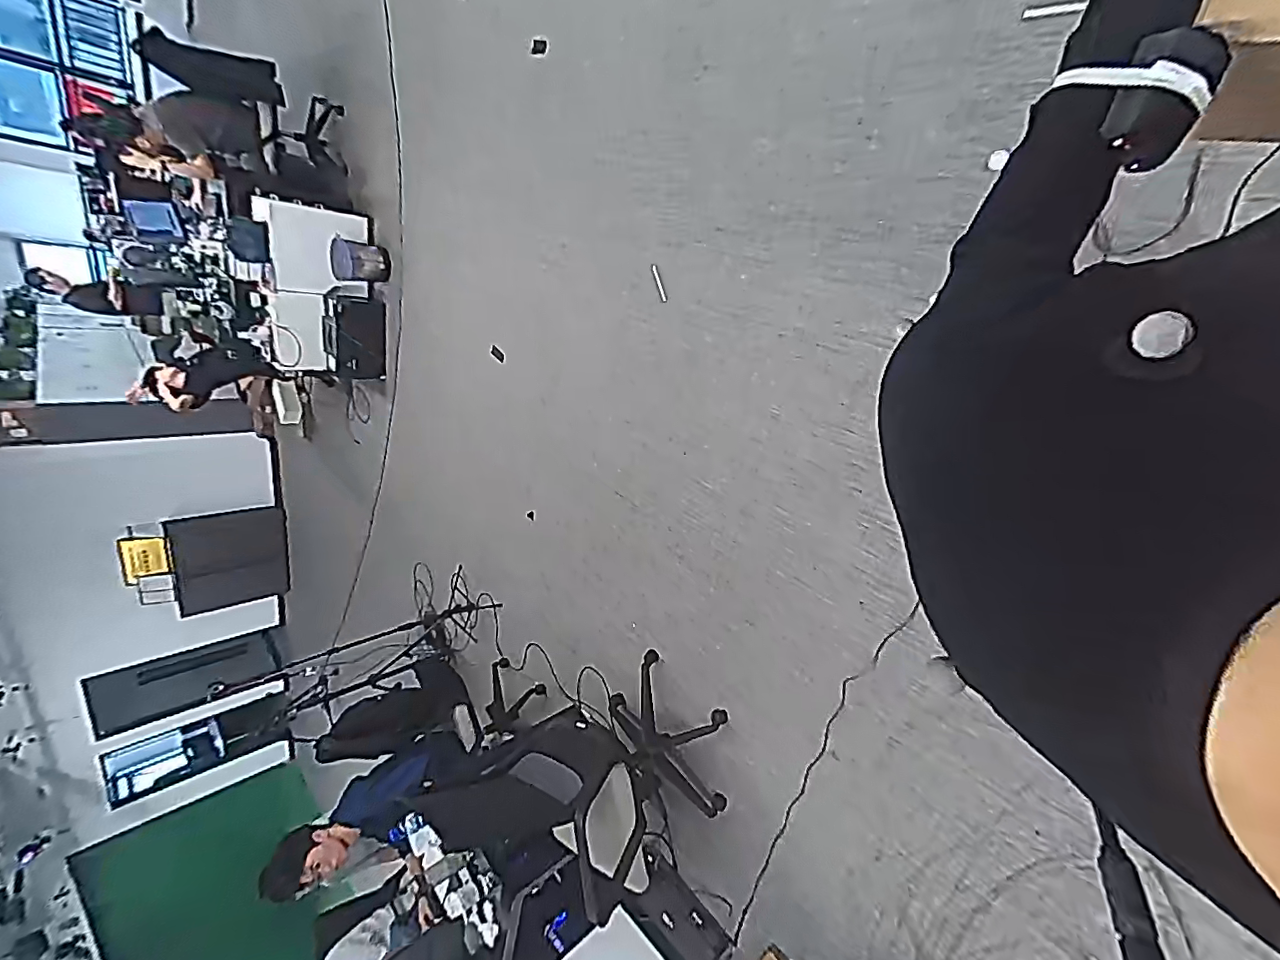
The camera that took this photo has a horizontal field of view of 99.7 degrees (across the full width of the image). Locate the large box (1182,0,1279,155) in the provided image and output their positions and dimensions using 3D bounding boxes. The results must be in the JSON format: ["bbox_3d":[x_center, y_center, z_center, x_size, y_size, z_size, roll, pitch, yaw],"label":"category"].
[{"bbox_3d":[0.627,-0.375,0.285,0.408,0.320,0.320,28,122,35],"label":"large box"}]
